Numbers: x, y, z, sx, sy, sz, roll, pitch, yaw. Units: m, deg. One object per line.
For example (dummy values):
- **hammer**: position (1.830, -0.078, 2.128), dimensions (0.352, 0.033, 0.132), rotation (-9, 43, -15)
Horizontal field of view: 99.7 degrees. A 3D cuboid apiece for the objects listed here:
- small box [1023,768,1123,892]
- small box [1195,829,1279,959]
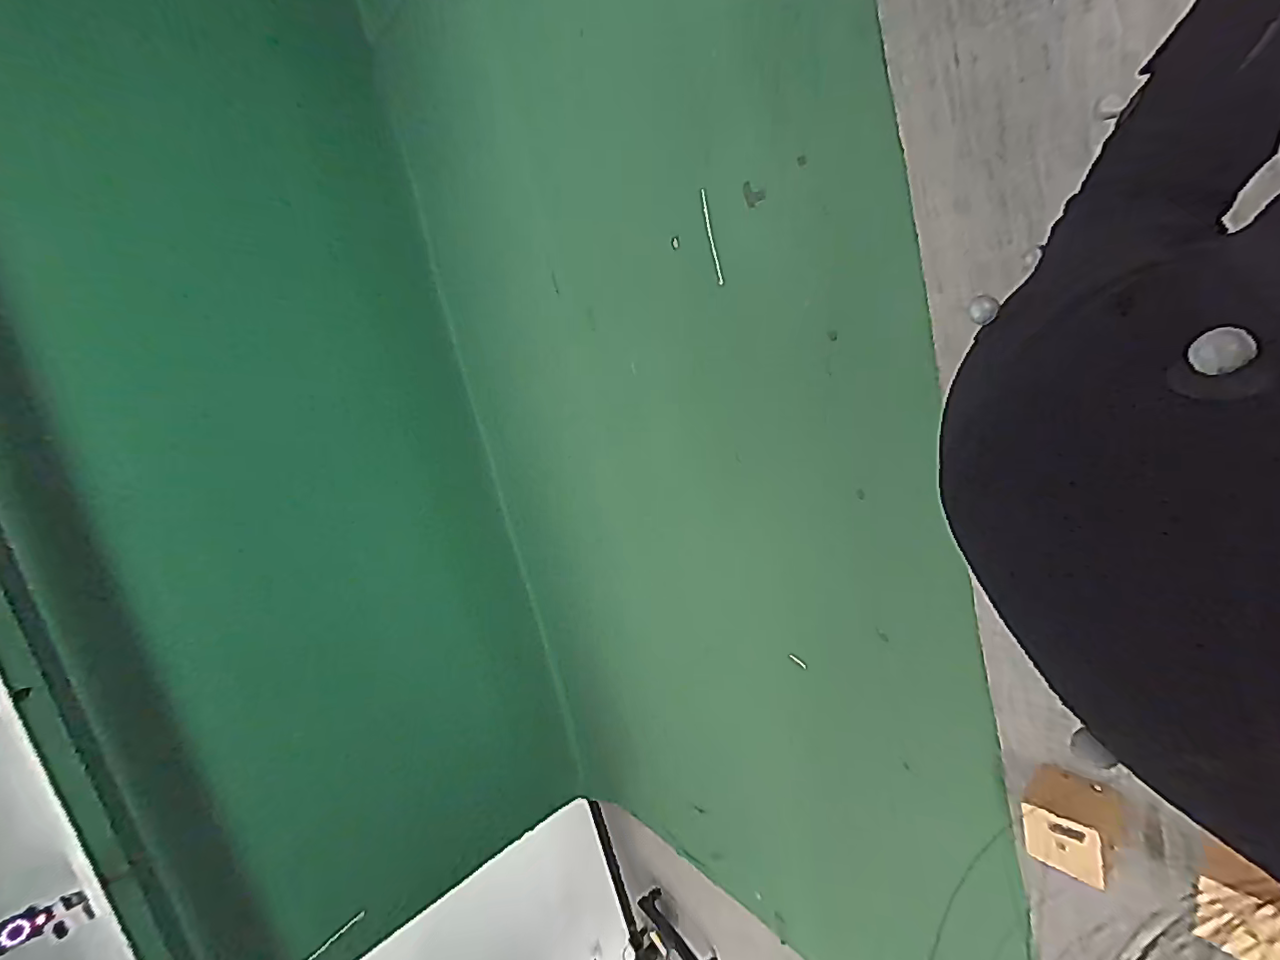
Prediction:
- **small box**: position (1.129, 0.898, 1.409), dimensions (0.168, 0.176, 0.179), rotation (0, 107, 53)
- **small box**: position (1.325, 0.909, 1.156), dimensions (0.168, 0.176, 0.179), rotation (7, 112, 51)
